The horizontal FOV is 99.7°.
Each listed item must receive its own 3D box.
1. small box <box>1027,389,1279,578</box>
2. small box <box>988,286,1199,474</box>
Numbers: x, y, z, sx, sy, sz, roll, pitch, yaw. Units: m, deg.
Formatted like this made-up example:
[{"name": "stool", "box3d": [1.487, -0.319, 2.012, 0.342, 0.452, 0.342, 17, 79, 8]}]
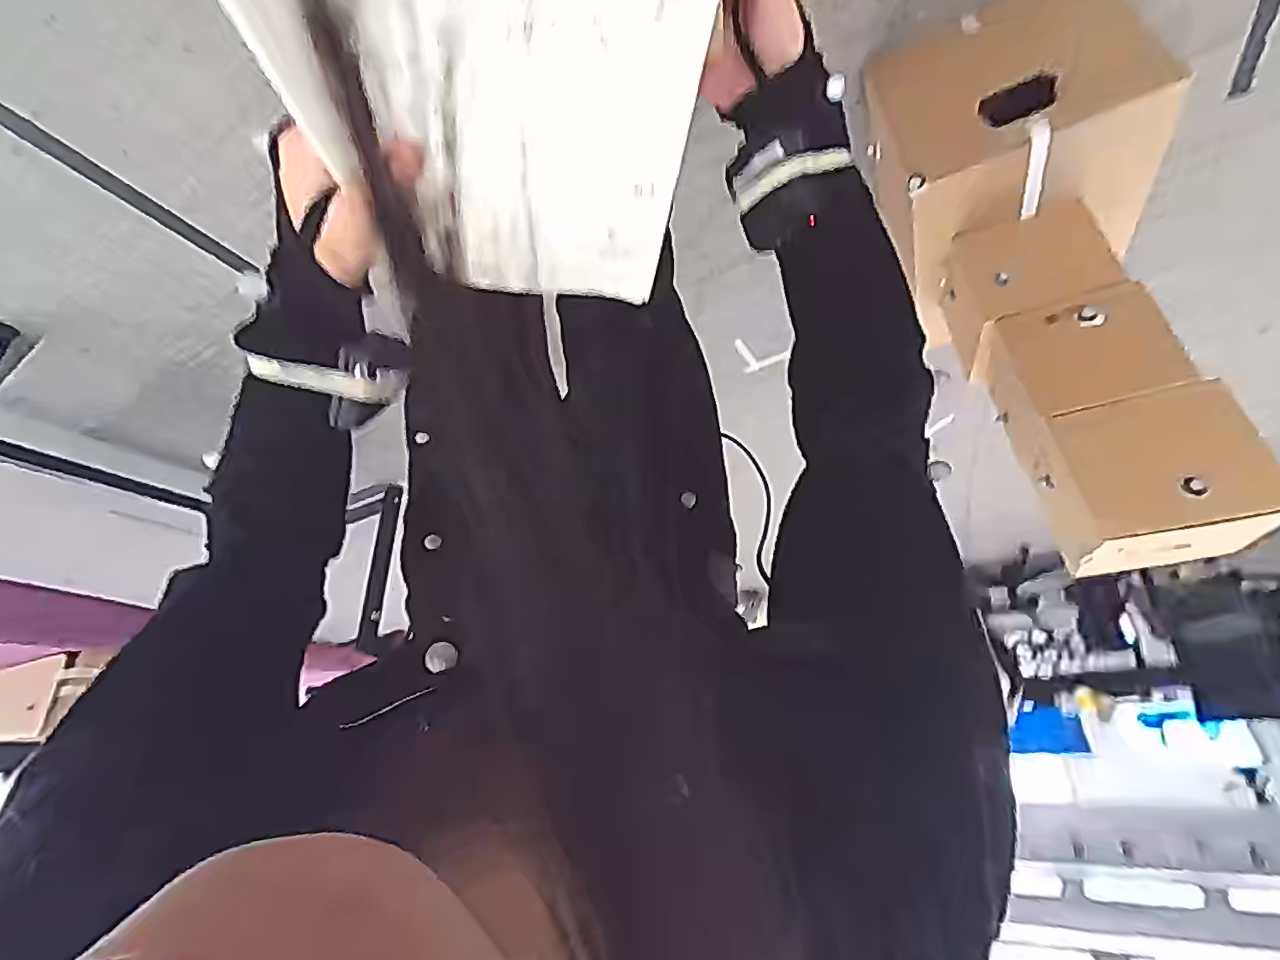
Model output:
[{"name": "small box", "box3d": [0.628, 0.009, 0.678, 0.179, 0.176, 0.168, -14, 150, 21]}, {"name": "small box", "box3d": [0.612, -0.133, 0.760, 0.168, 0.176, 0.179, -16, 149, 23]}]
